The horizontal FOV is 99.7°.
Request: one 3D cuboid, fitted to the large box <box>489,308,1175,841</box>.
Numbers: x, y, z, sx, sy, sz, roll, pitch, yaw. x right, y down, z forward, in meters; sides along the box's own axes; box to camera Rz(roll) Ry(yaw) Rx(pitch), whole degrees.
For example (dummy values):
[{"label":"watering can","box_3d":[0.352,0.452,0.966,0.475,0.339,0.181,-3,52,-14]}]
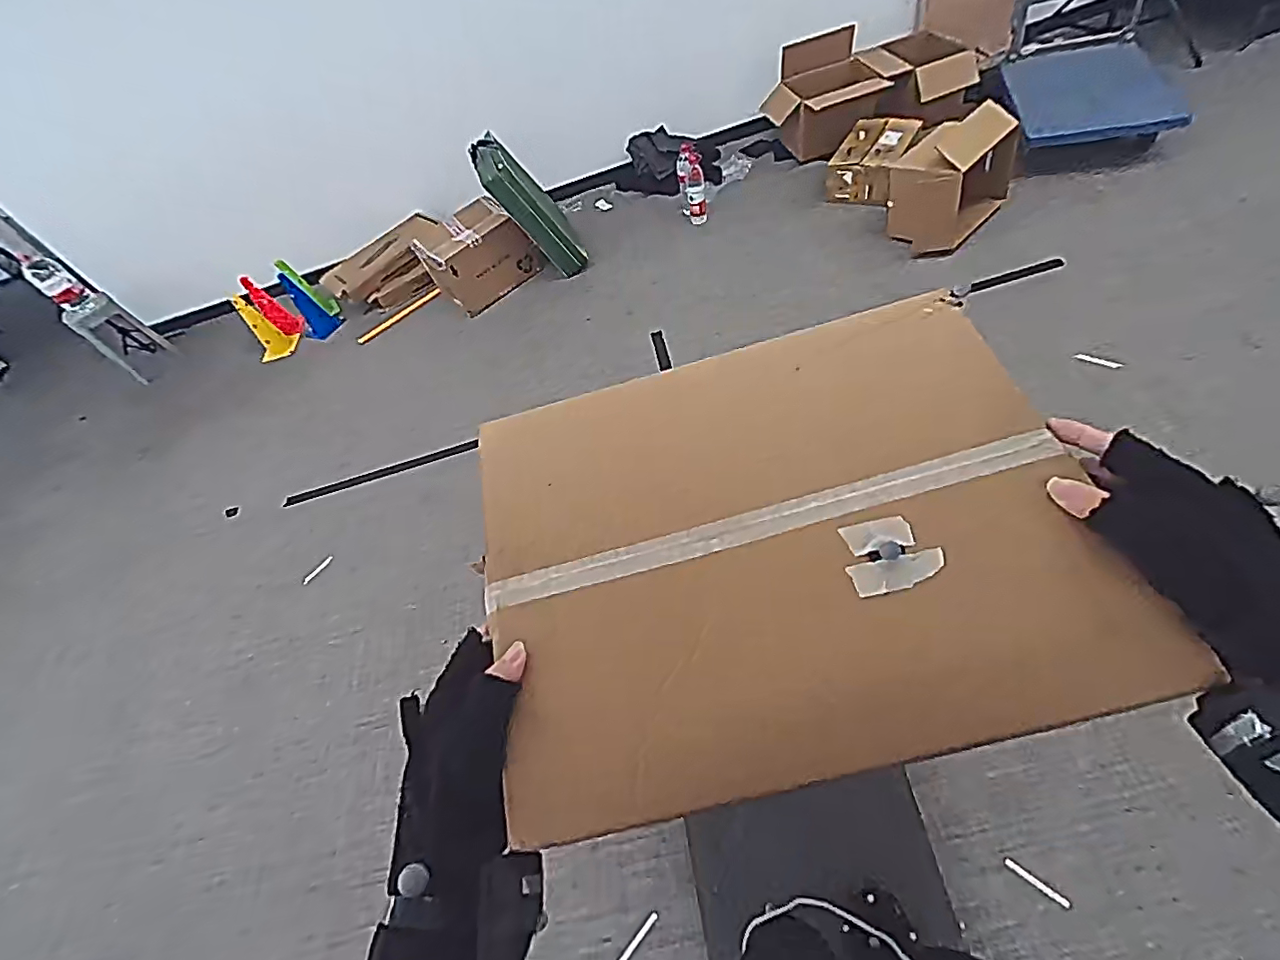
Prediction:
[{"label":"large box","box_3d":[0.114,0.106,0.522,0.408,0.320,0.320,-16,61,3]}]
